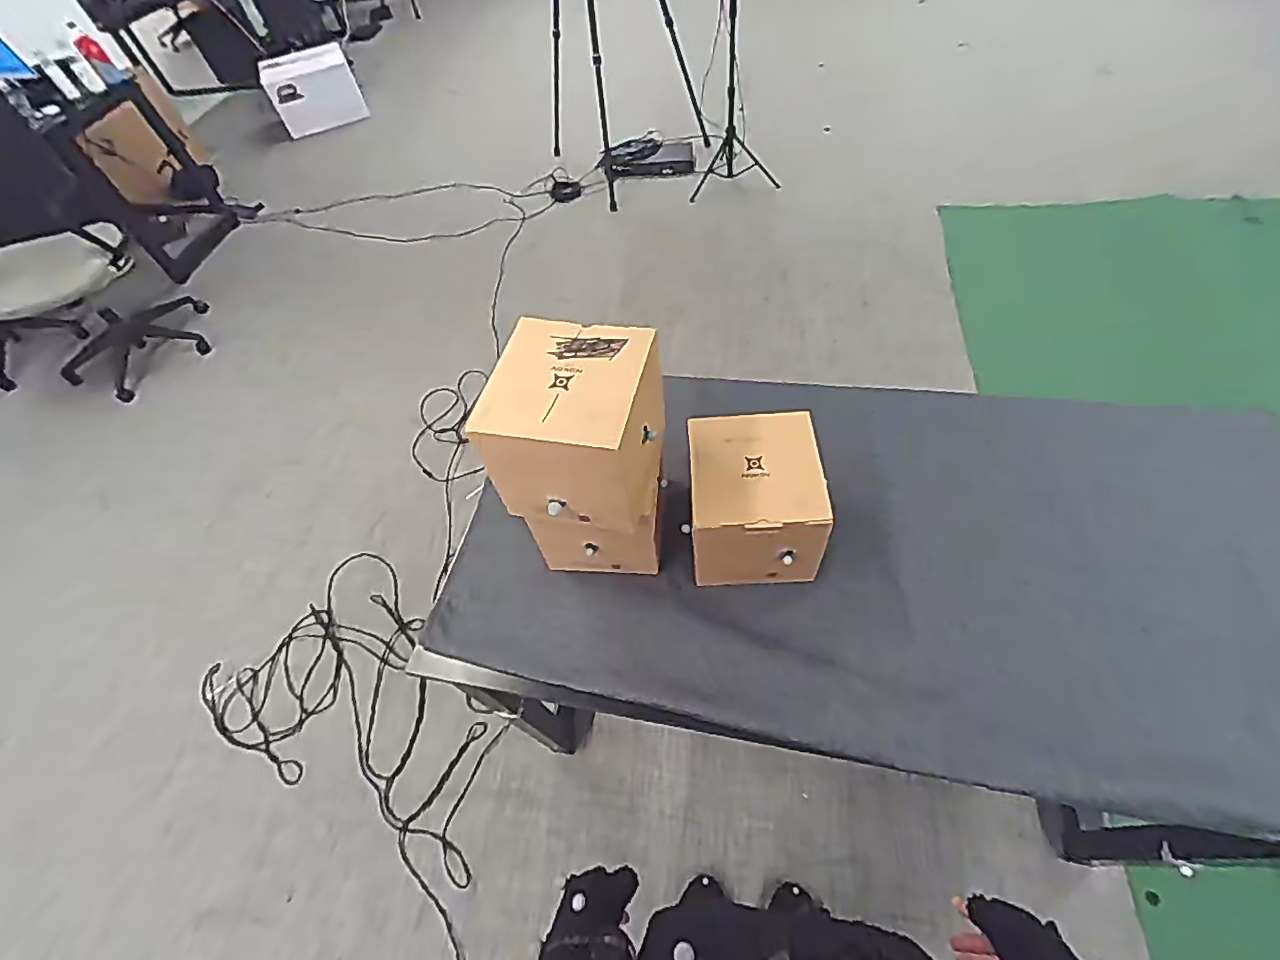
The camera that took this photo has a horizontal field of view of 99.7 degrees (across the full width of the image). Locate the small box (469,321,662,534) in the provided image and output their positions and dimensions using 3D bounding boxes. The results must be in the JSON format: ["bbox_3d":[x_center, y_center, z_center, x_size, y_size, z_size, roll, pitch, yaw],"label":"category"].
[{"bbox_3d":[-0.070,-0.061,0.640,0.168,0.176,0.179,8,57,12],"label":"small box"}]

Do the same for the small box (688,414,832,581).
[{"bbox_3d":[0.154,0.031,0.749,0.168,0.176,0.179,-3,54,4],"label":"small box"}]
